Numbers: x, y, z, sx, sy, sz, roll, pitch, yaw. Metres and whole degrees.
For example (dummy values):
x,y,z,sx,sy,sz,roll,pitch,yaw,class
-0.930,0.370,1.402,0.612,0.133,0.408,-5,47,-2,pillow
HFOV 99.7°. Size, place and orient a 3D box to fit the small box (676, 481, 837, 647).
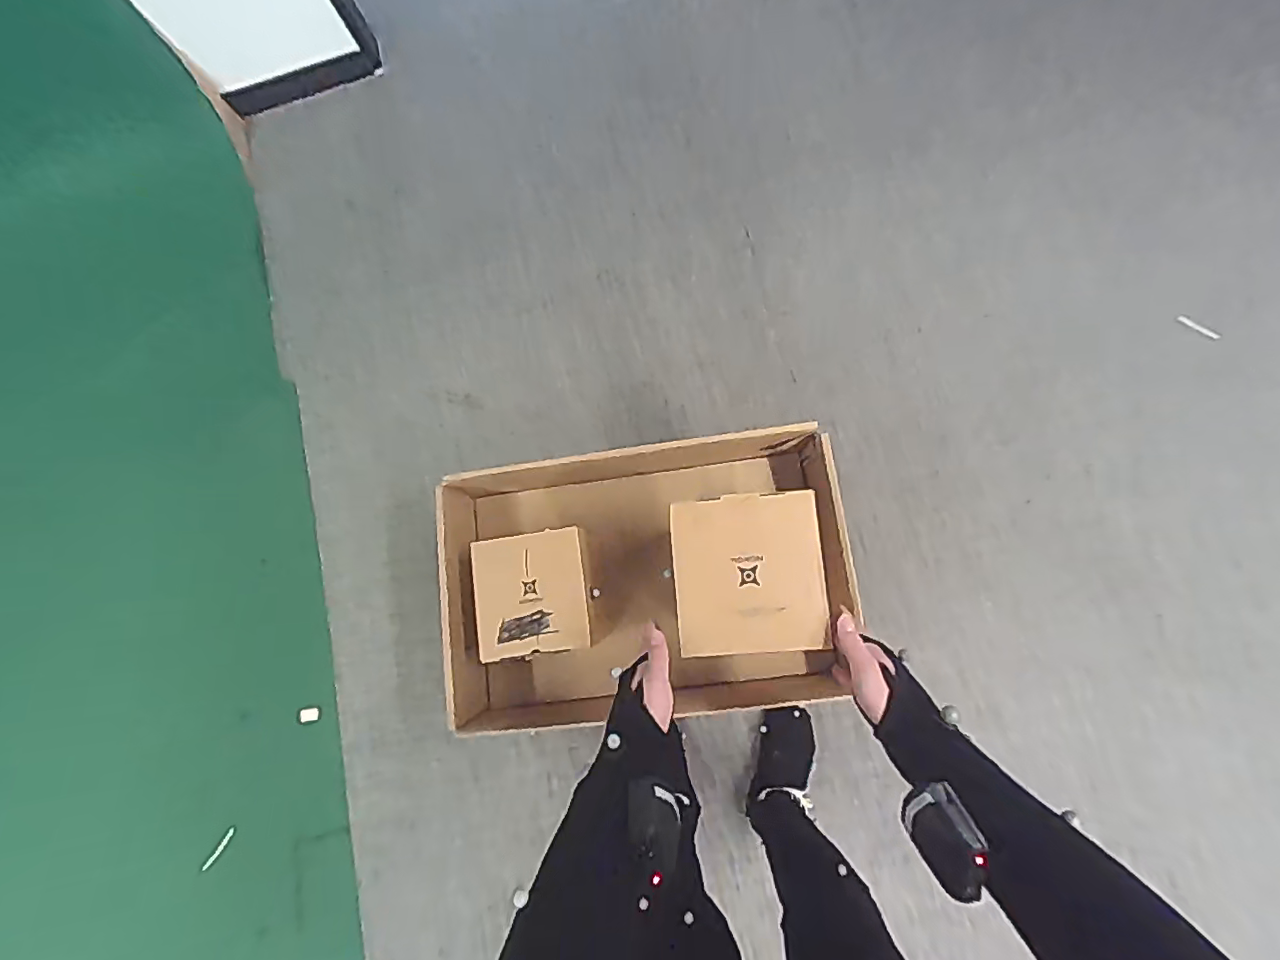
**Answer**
x,y,z,sx,sy,sz,roll,pitch,yaw,class
0.131,0.104,0.669,0.168,0.176,0.179,-4,81,5,small box
